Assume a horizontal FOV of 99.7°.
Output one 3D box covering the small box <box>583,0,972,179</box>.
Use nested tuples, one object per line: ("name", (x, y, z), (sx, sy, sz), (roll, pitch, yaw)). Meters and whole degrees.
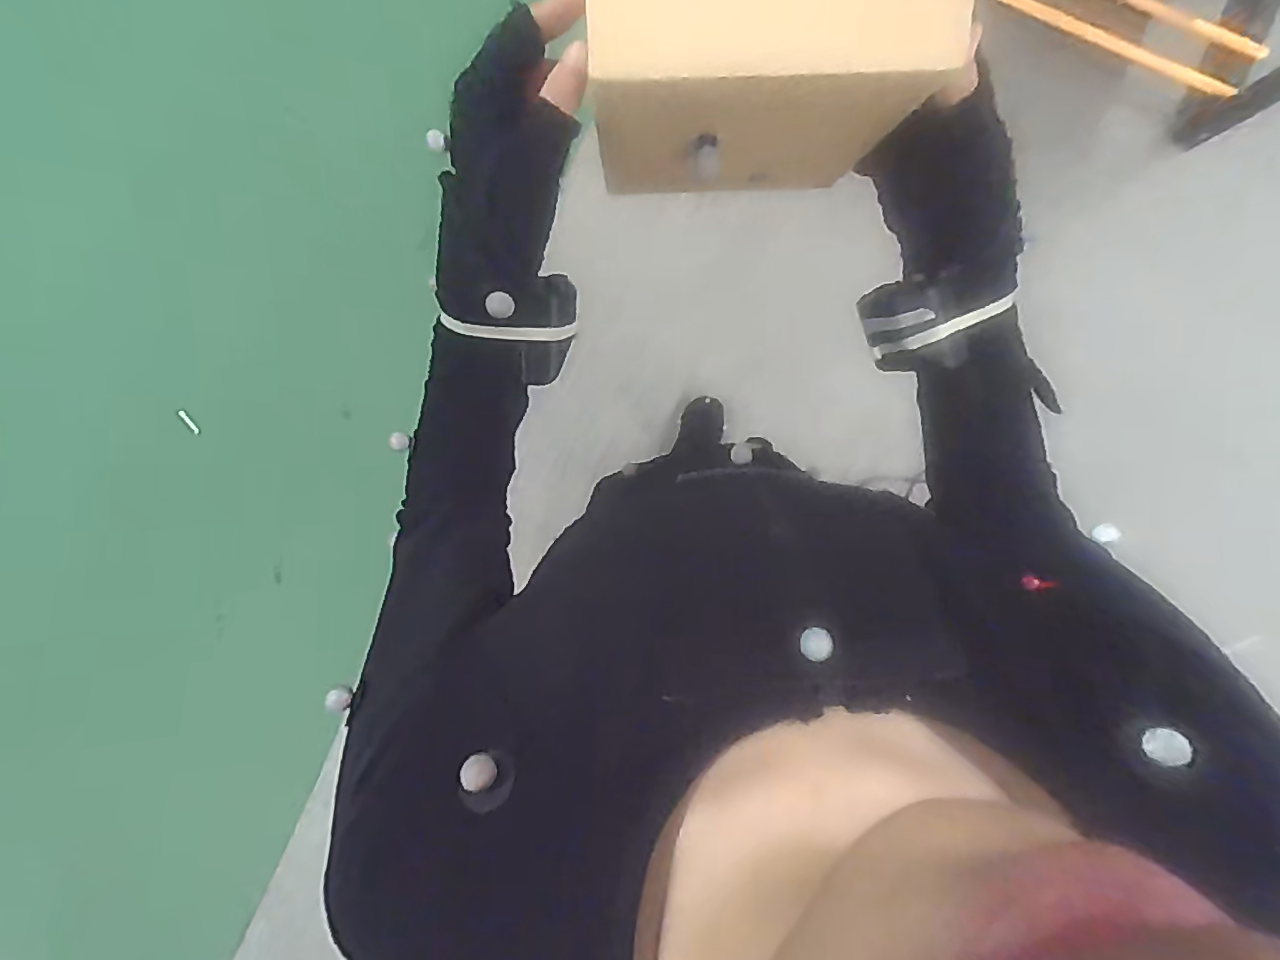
("small box", (0.058, -0.279, 0.292), (0.168, 0.176, 0.179), (-1, 101, 0))
